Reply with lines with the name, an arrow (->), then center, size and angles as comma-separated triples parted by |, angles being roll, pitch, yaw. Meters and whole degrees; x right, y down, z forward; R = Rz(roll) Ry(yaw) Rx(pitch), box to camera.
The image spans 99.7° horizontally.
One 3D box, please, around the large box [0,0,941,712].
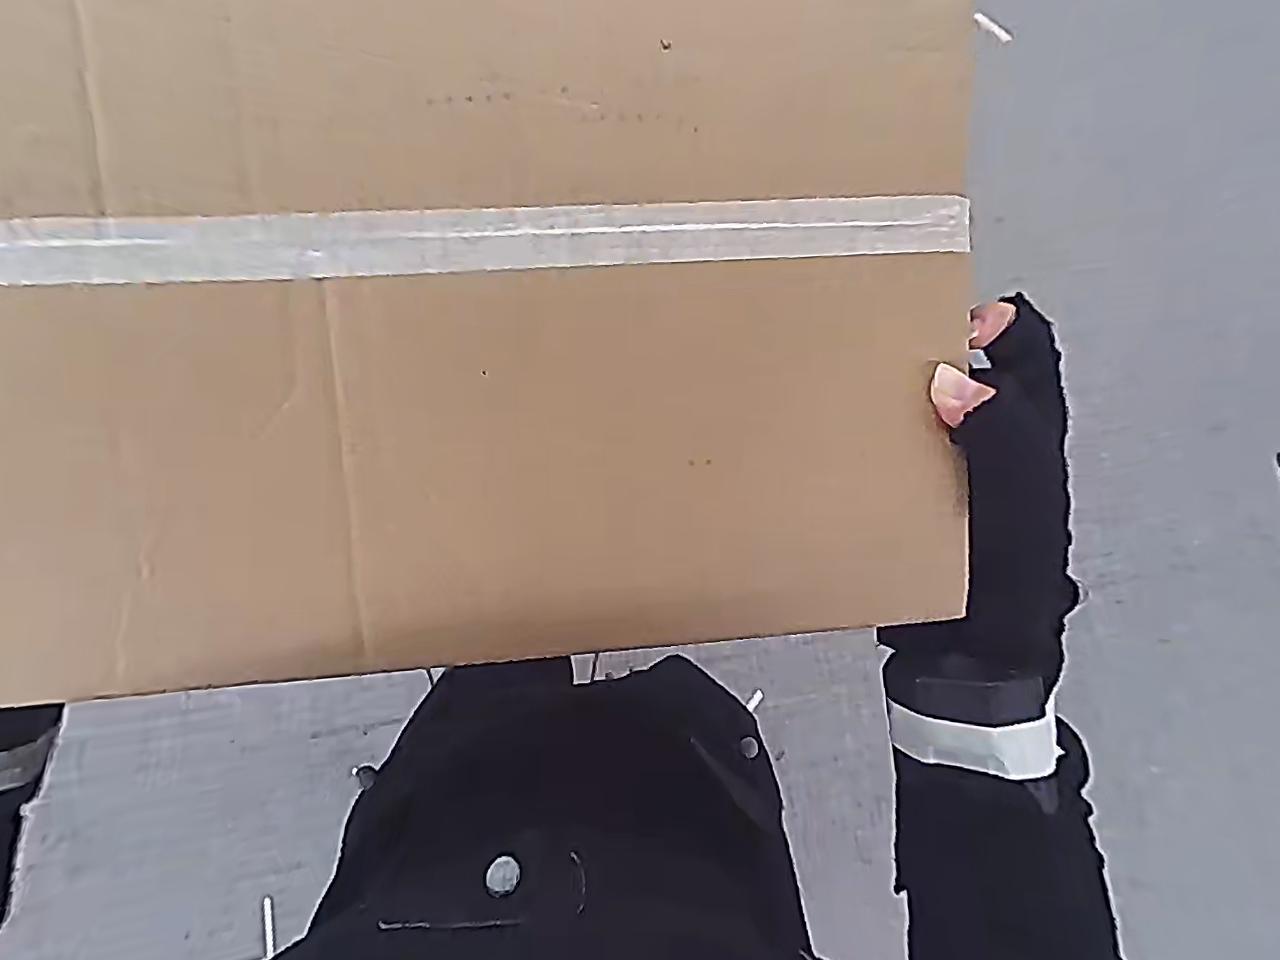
large box -> -0.087, -0.091, 0.353 | 0.408, 0.320, 0.320 | -4, 95, -5
